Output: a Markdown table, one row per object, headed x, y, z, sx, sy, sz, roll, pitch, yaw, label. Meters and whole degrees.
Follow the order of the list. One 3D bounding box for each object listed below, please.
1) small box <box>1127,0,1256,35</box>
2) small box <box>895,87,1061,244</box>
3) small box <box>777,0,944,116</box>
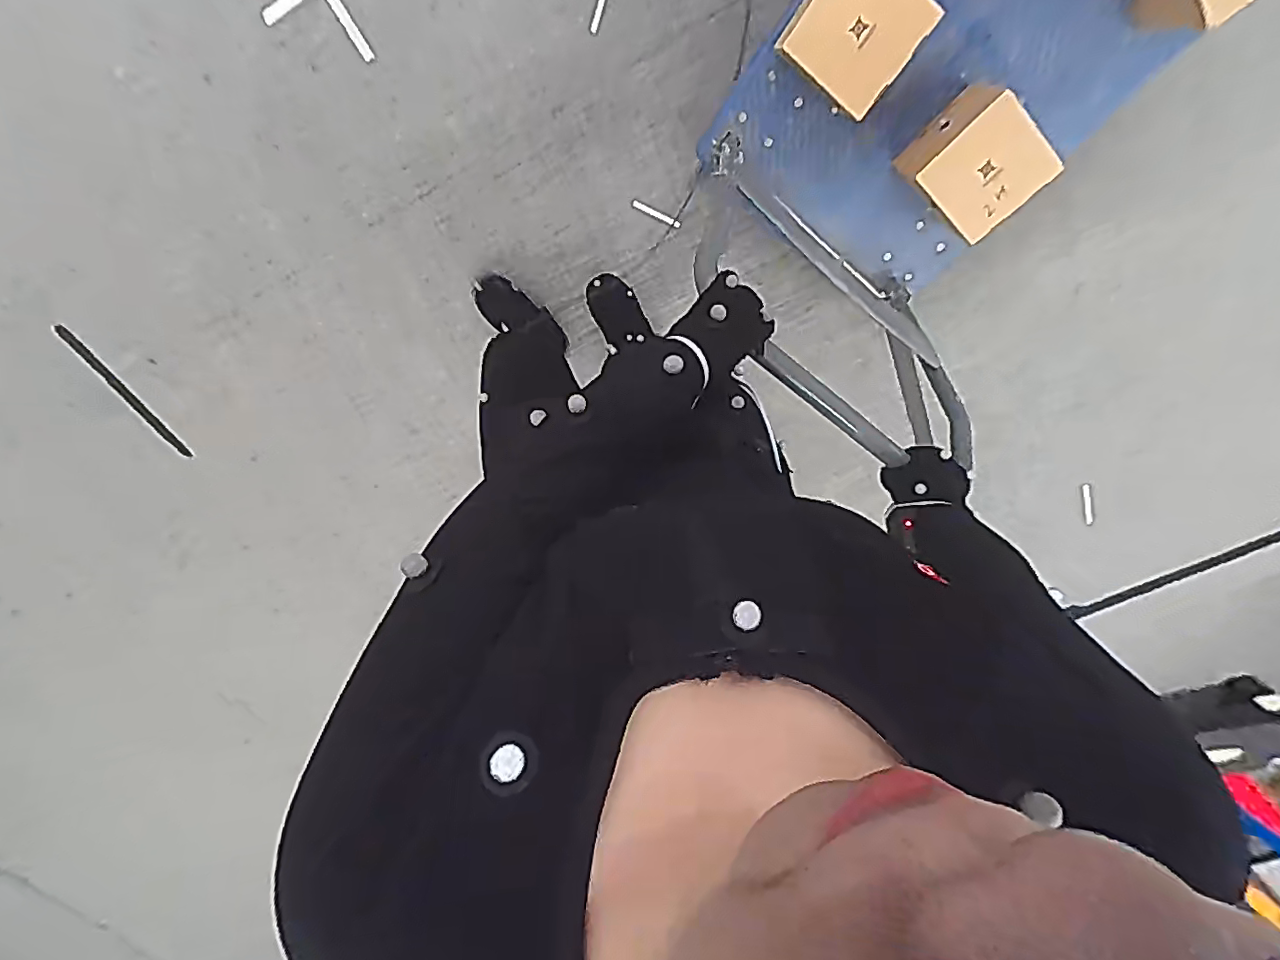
| x | y | z | sx | sy | sz | roll | pitch | yaw | label |
| --- | --- | --- | --- | --- | --- | --- | --- | --- | --- |
| 0.839 | -0.786 | 0.771 | 0.179 | 0.176 | 0.168 | -33 | 117 | 30 | small box |
| 0.596 | -0.569 | 0.977 | 0.179 | 0.176 | 0.168 | 36 | 125 | -19 | small box |
| 0.344 | -0.736 | 0.883 | 0.179 | 0.176 | 0.168 | 30 | 126 | -17 | small box |
